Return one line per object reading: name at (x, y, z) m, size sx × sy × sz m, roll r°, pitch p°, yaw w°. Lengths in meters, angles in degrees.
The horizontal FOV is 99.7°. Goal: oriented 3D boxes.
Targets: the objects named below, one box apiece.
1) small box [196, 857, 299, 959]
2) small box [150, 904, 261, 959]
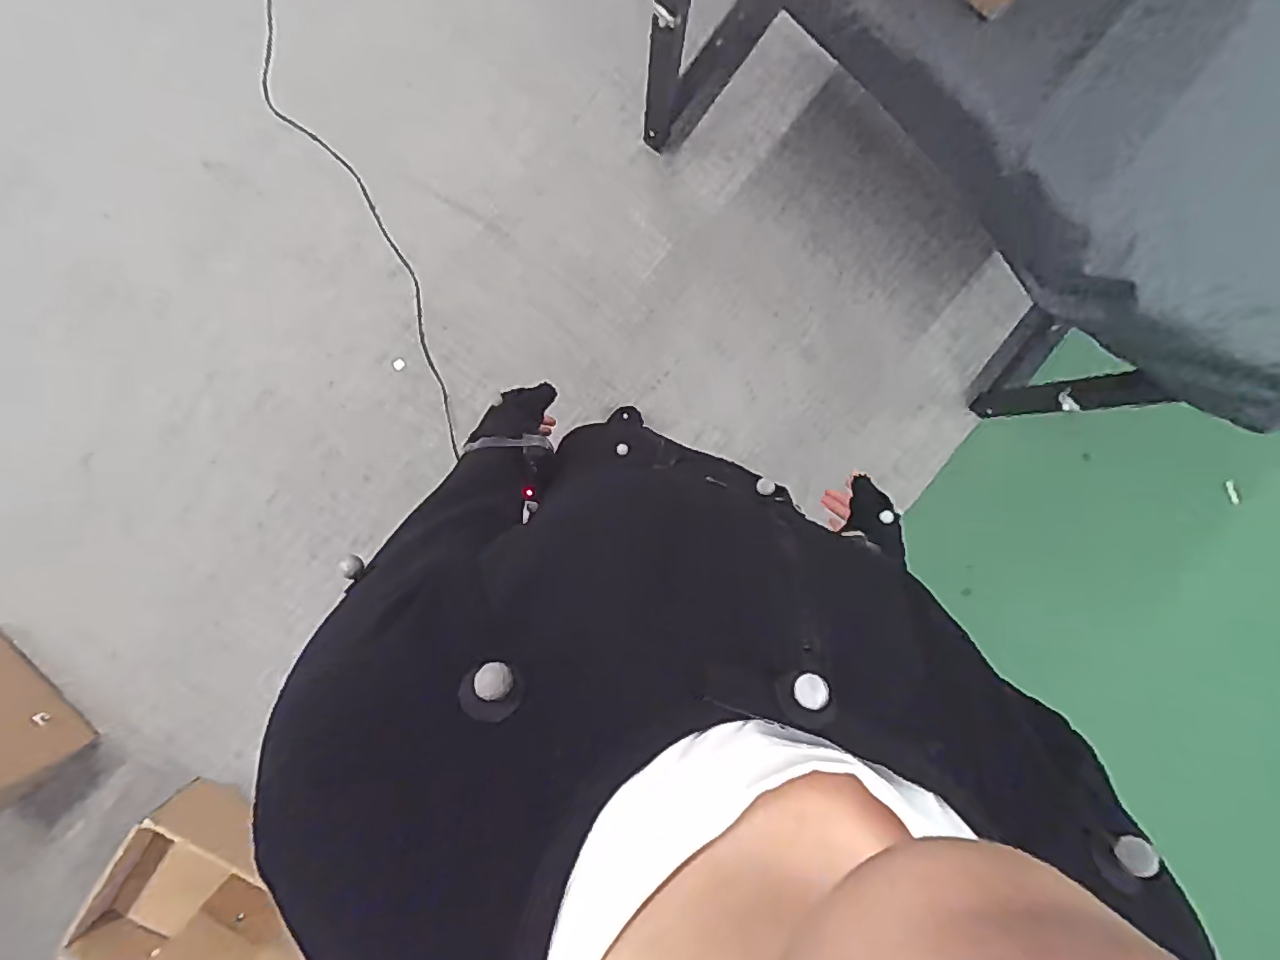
small box at (-1.014, 1.107, 1.363) m, size 0.179 × 0.176 × 0.168 m, roll 34°, pitch 91°, yaw -2°
small box at (-1.002, 1.105, 1.198) m, size 0.179 × 0.176 × 0.168 m, roll 37°, pitch 91°, yaw -3°
